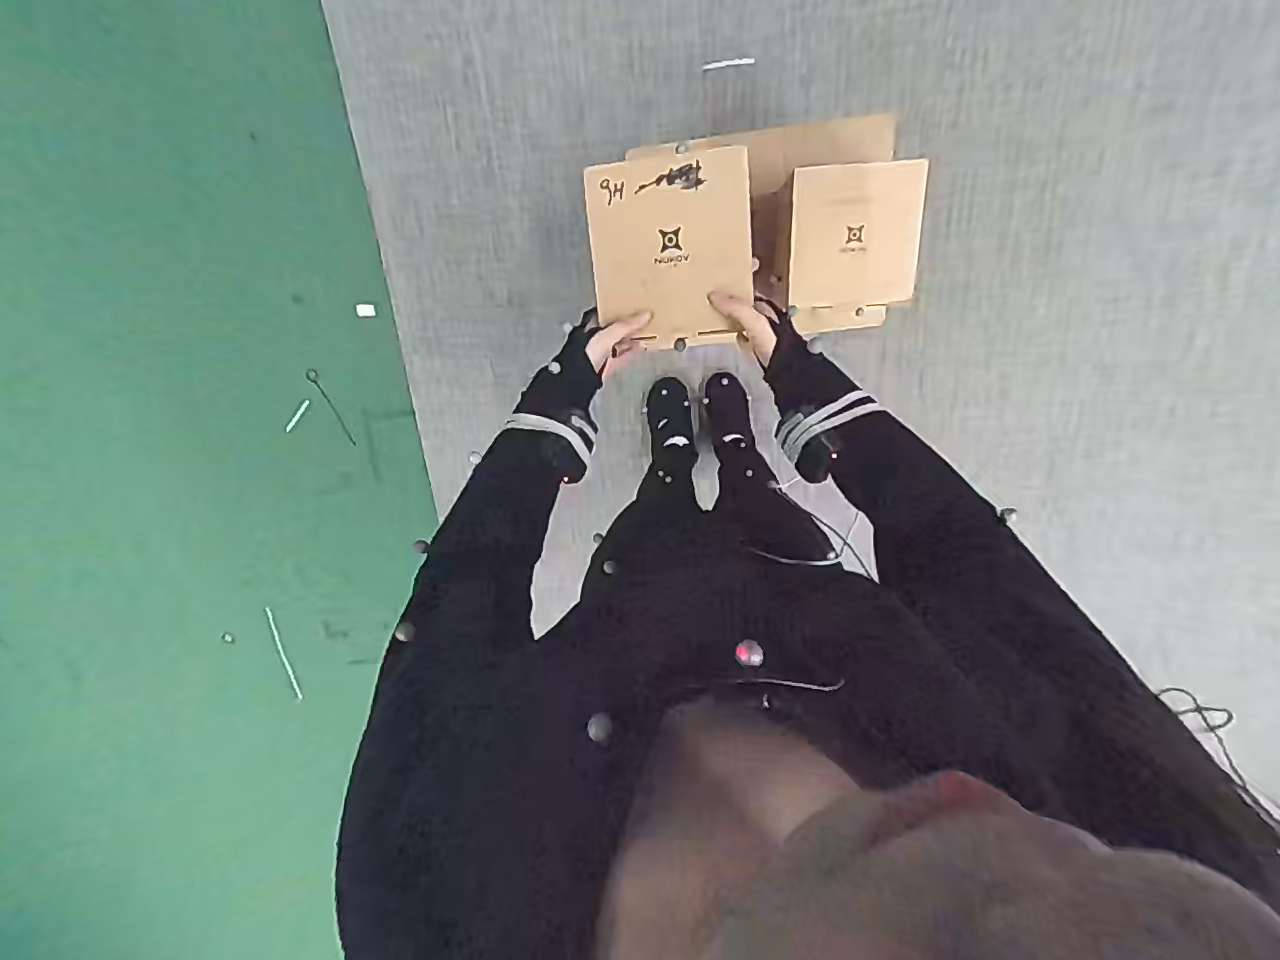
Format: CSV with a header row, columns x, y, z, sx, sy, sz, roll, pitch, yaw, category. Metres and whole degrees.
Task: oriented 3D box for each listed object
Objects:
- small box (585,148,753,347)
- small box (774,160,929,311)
x,y,z,sx,sy,sz,roll,pitch,yaw,category
0.042,-0.255,0.630,0.168,0.176,0.179,-4,104,8,small box
0.289,-0.340,0.778,0.168,0.176,0.179,-1,108,6,small box
